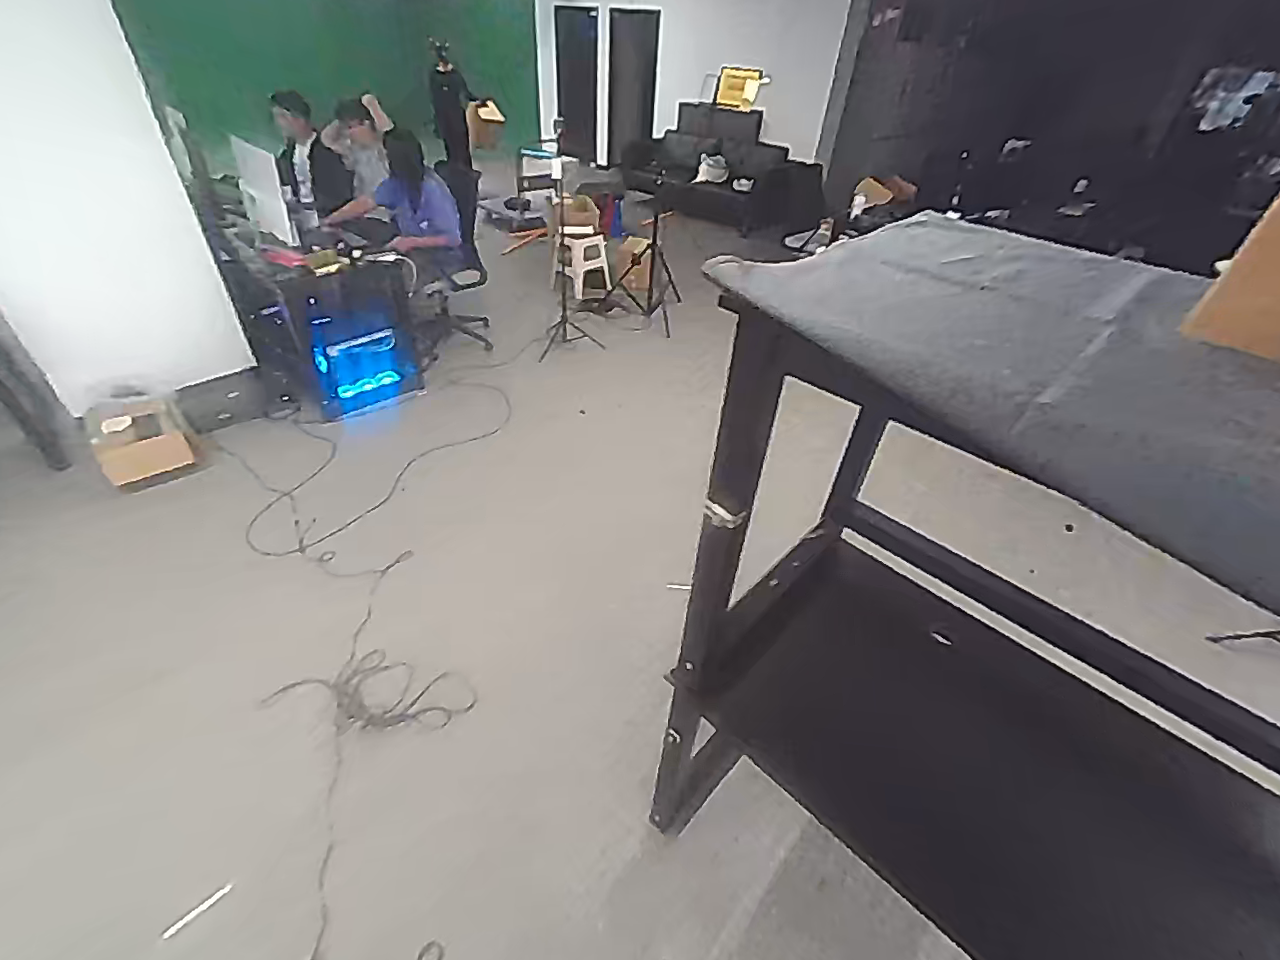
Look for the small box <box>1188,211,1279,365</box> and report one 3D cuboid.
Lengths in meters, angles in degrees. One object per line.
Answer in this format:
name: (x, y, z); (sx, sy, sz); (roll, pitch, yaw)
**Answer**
small box: (0.692, -0.195, 0.508); (0.168, 0.176, 0.179); (-26, 48, -32)
